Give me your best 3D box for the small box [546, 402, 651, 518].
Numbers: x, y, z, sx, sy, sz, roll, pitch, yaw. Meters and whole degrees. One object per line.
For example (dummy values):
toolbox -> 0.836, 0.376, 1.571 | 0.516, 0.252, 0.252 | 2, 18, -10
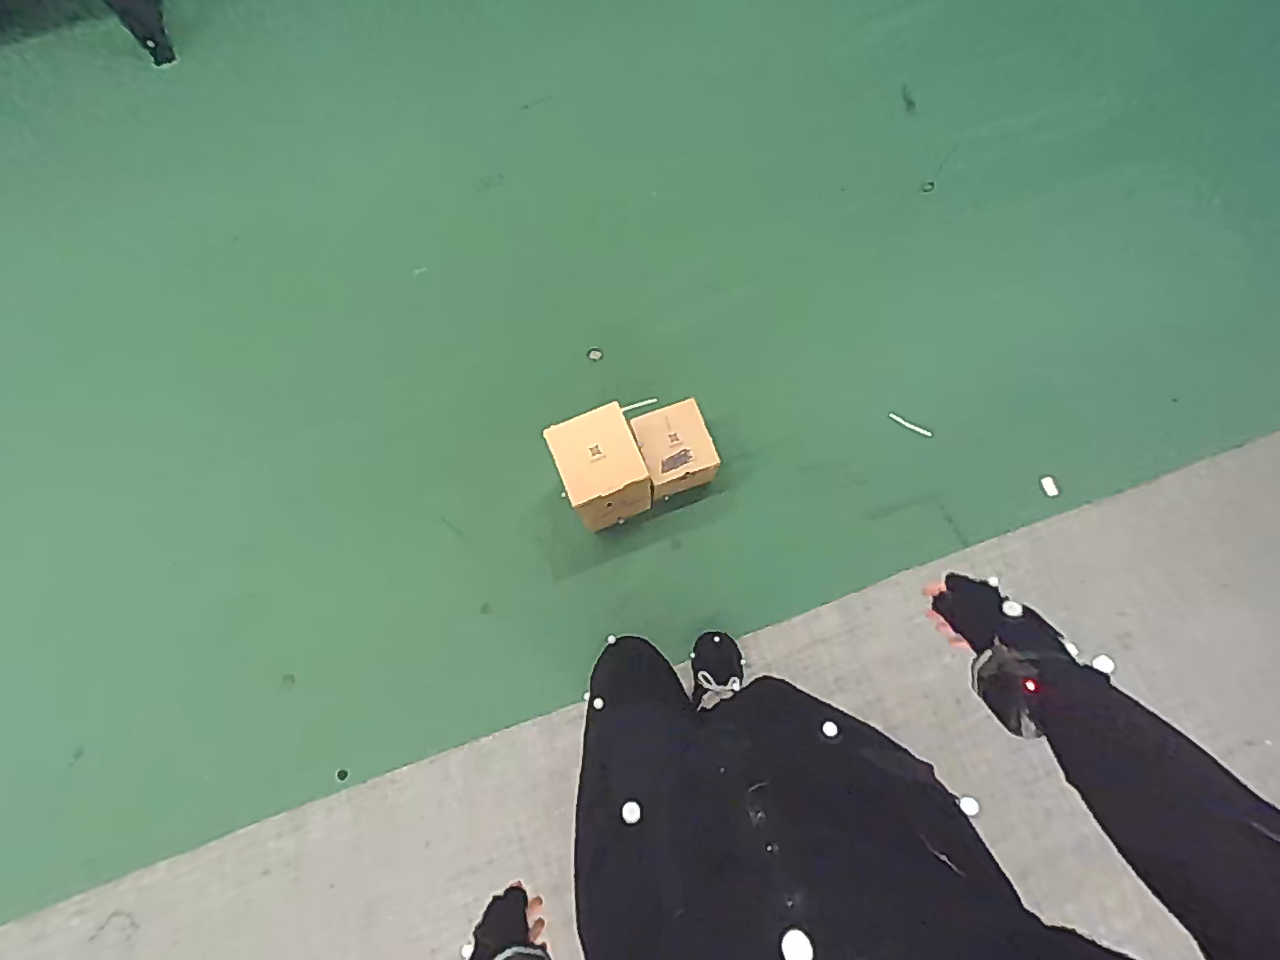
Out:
small box -> -0.086, -0.035, 1.159 | 0.168, 0.176, 0.179 | -23, 78, -5
